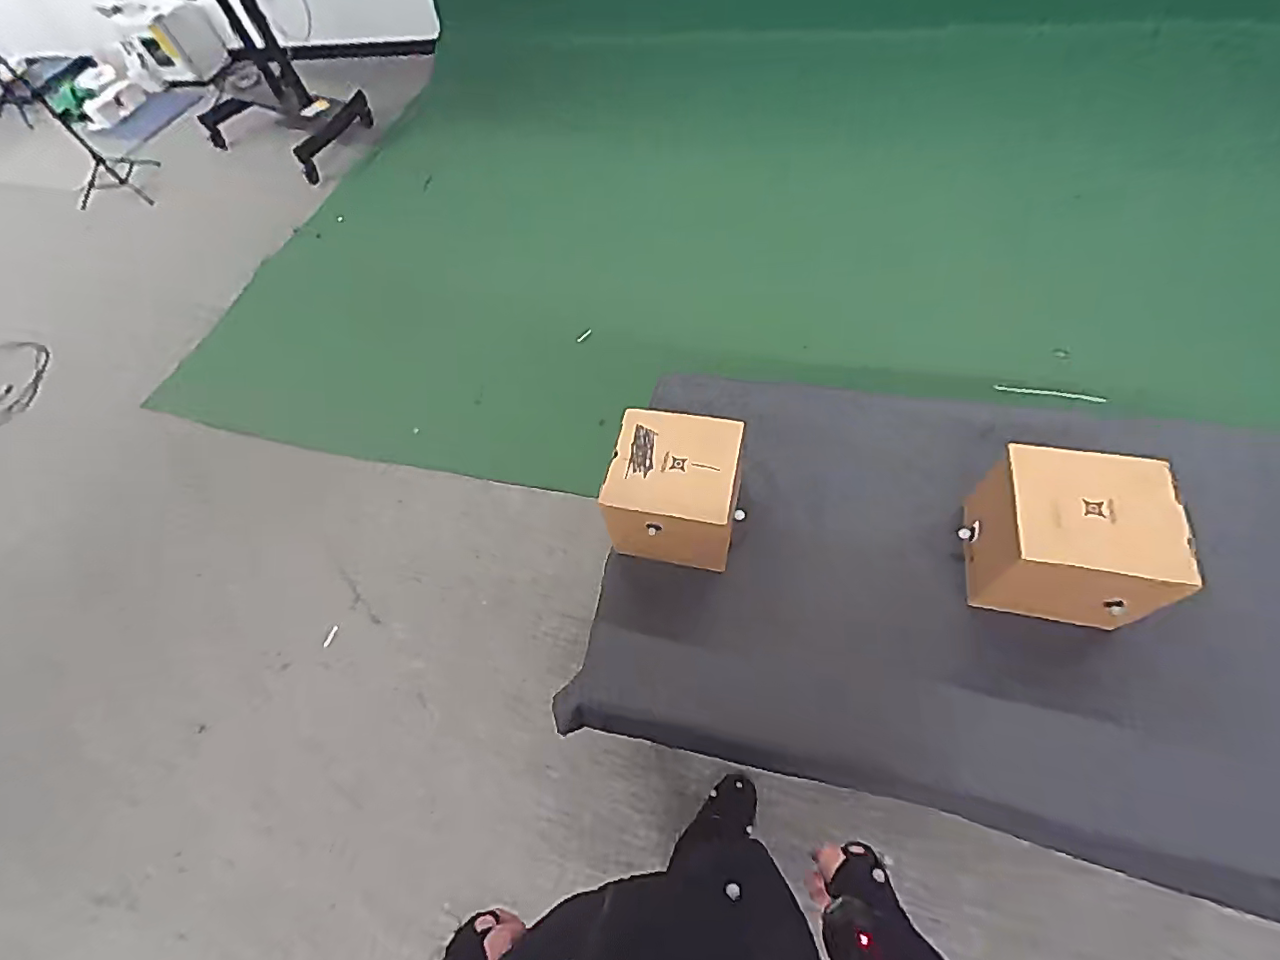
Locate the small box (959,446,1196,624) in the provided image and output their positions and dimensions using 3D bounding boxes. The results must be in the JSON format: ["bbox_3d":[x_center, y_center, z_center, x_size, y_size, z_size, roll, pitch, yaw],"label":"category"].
[{"bbox_3d":[0.547,0.078,0.707,0.179,0.176,0.168,8,61,13],"label":"small box"}]

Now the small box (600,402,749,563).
[{"bbox_3d":[0.055,0.009,0.801,0.179,0.176,0.168,10,62,11],"label":"small box"}]
